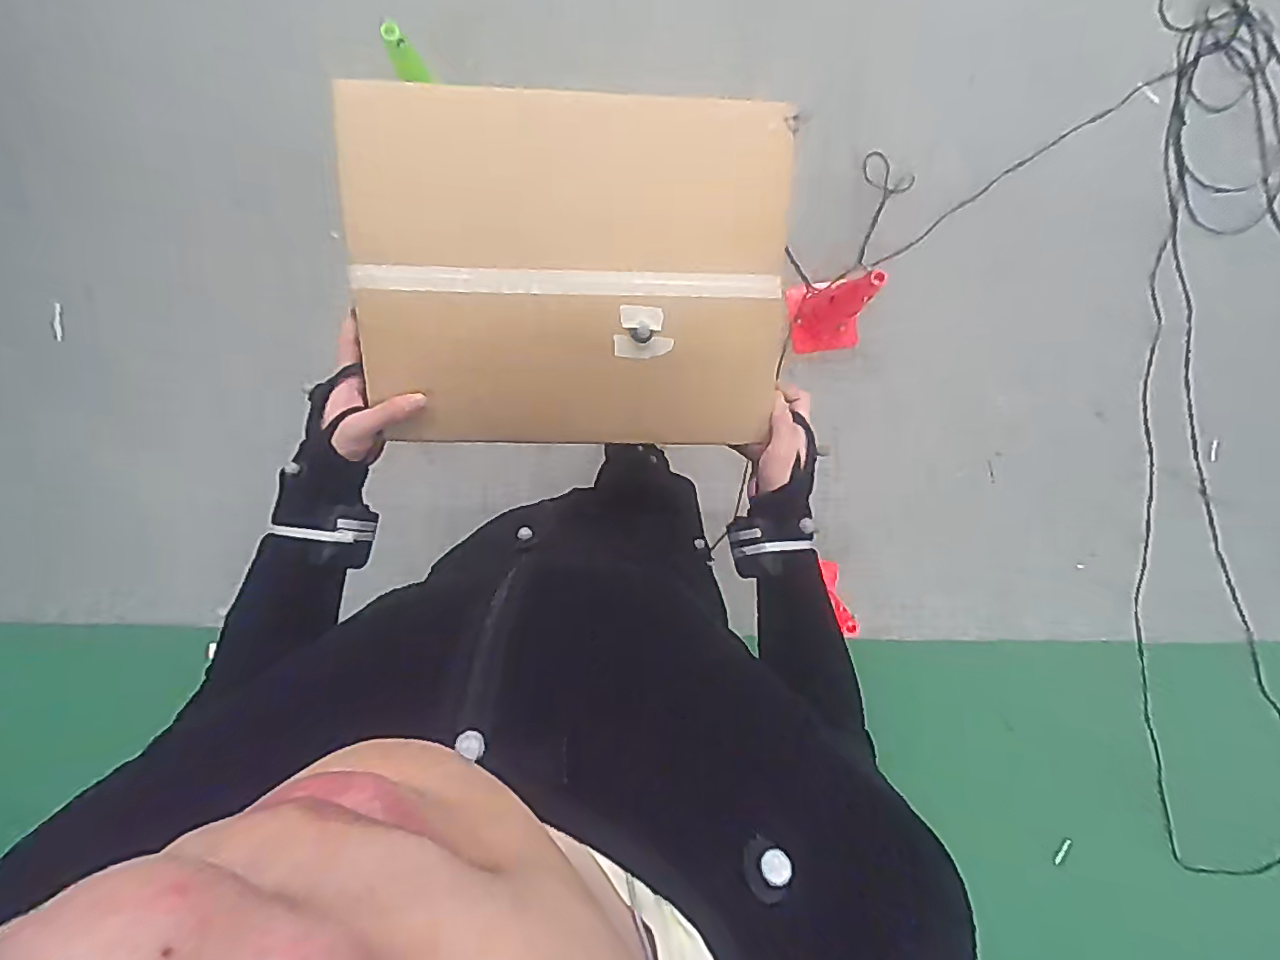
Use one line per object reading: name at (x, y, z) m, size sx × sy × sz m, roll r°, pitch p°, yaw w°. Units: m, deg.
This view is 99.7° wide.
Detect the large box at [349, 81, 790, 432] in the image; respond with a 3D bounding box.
large box at (-0.072, -0.239, 0.667) m, size 0.408 × 0.320 × 0.320 m, roll 0°, pitch 106°, yaw -5°

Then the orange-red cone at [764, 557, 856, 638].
orange-red cone at (0.497, 0.351, 1.478) m, size 0.199 × 0.360 × 0.198 m, roll 9°, pitch 93°, yaw -4°
